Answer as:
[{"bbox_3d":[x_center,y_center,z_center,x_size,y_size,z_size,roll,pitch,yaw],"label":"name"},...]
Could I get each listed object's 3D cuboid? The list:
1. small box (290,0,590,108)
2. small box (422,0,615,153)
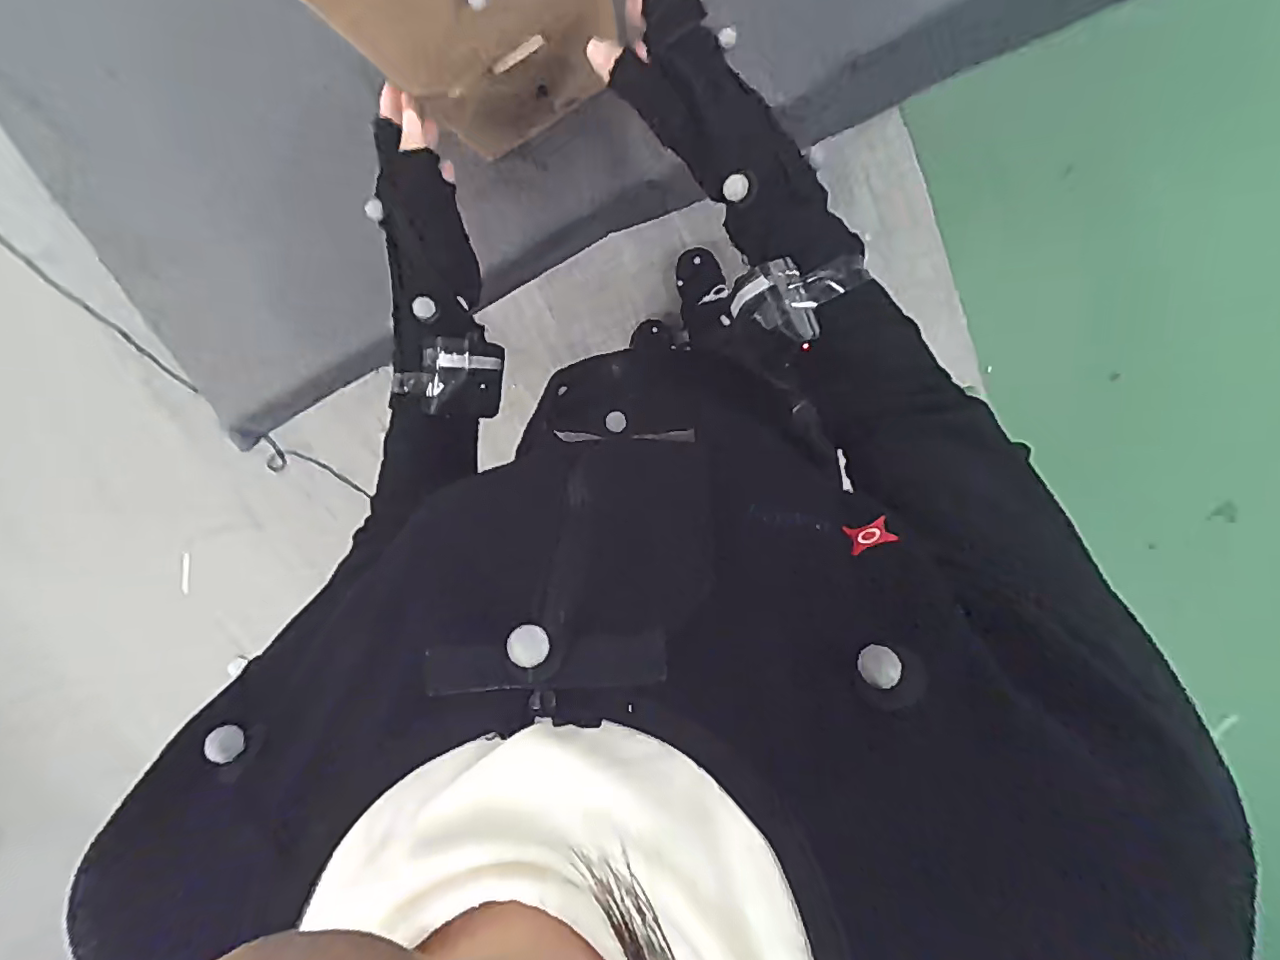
[{"bbox_3d":[-0.132,-0.369,0.318,0.179,0.176,0.168,-25,105,11],"label":"small box"},{"bbox_3d":[-0.133,-0.420,0.475,0.168,0.176,0.179,-27,106,10],"label":"small box"}]
